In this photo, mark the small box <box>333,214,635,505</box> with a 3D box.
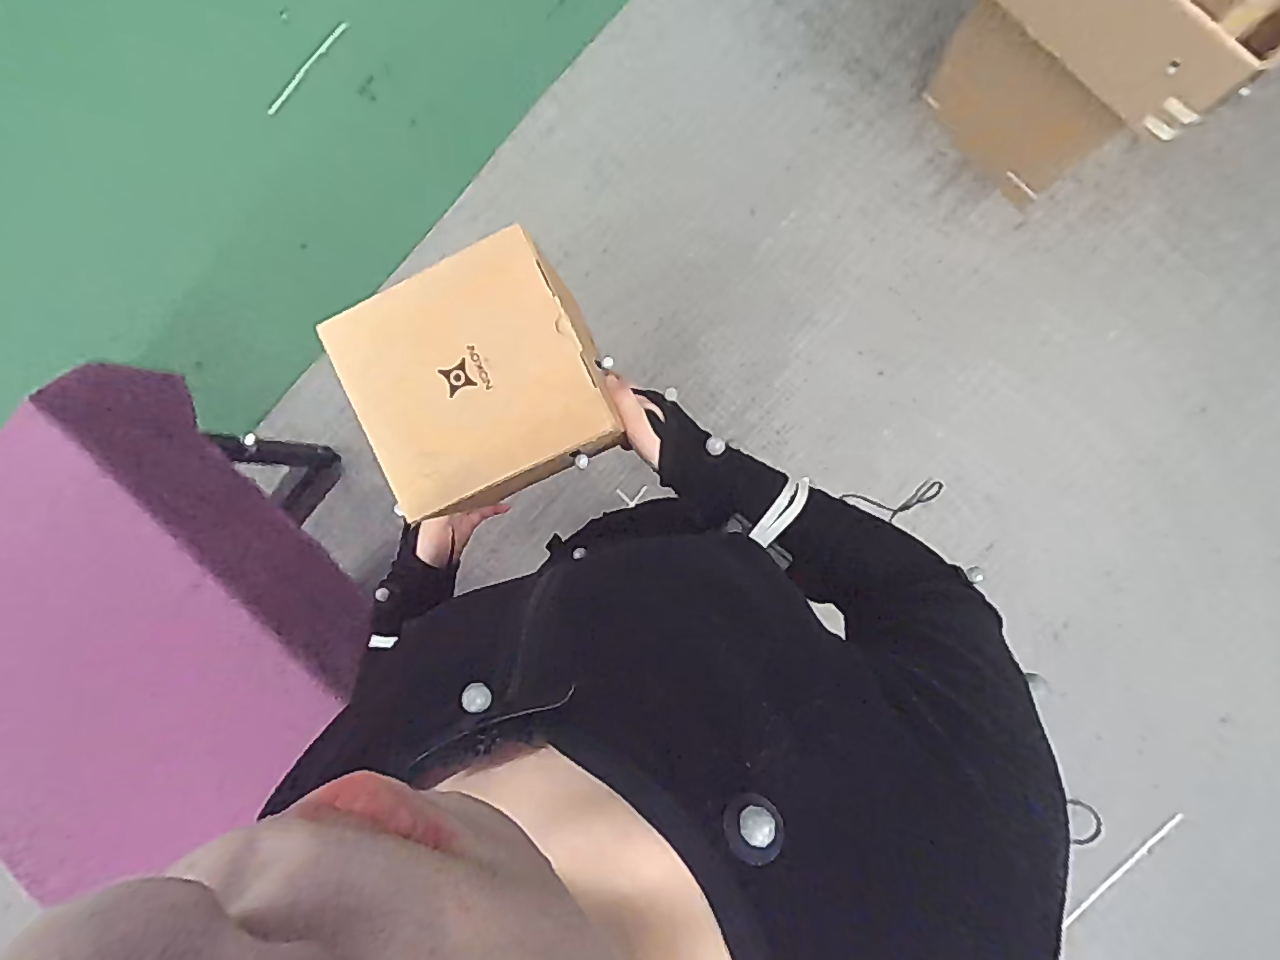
[{"bbox_3d":[-0.117,-0.088,0.479,0.179,0.176,0.168,-24,90,4],"label":"small box"}]
